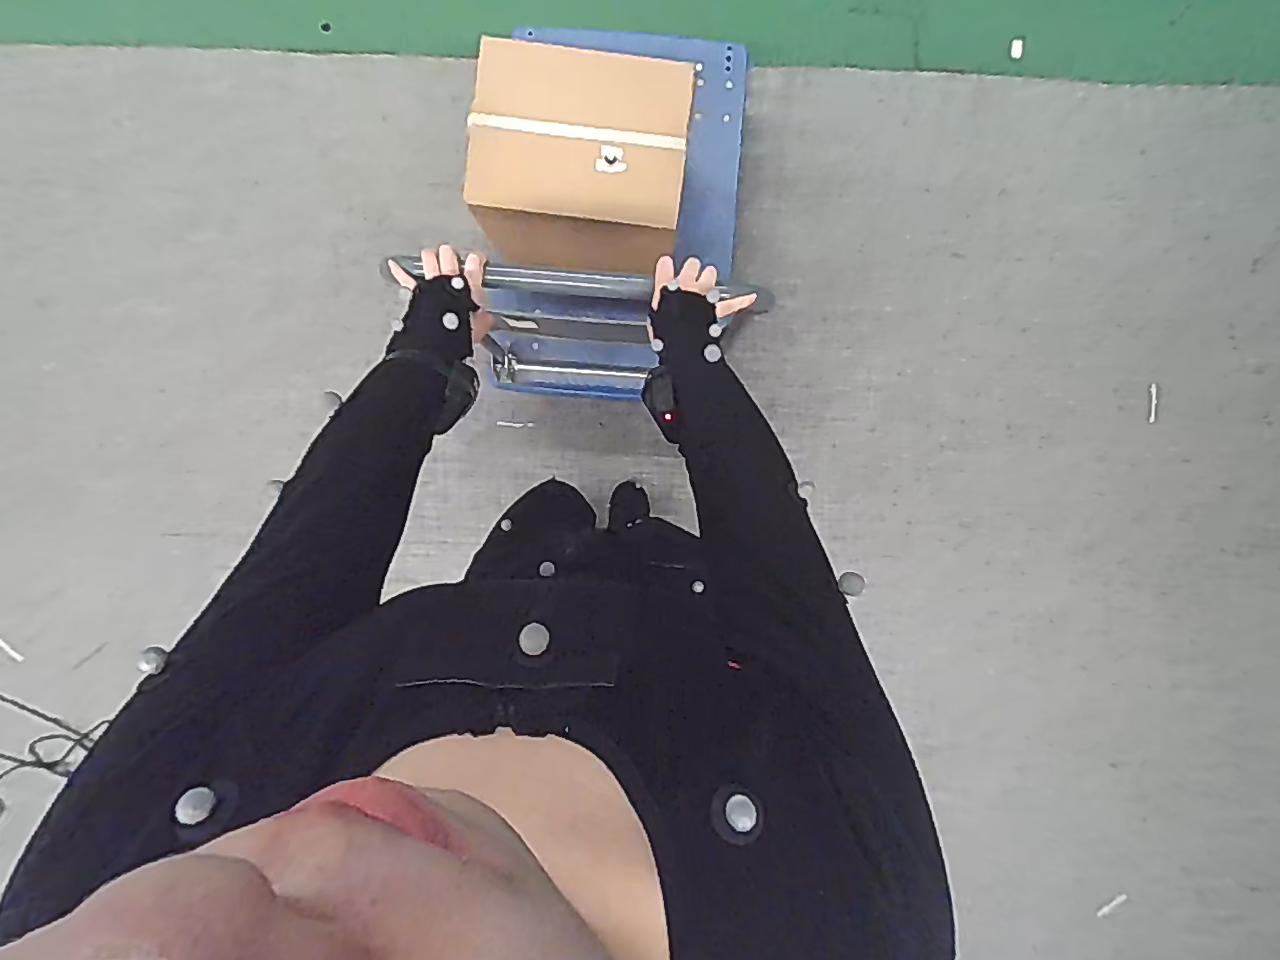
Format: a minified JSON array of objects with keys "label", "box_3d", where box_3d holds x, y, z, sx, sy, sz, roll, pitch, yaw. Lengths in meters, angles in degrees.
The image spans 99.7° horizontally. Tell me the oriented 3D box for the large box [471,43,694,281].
[{"label":"large box","box_3d":[-0.114,-0.657,1.176,0.408,0.320,0.320,7,91,-1]}]
